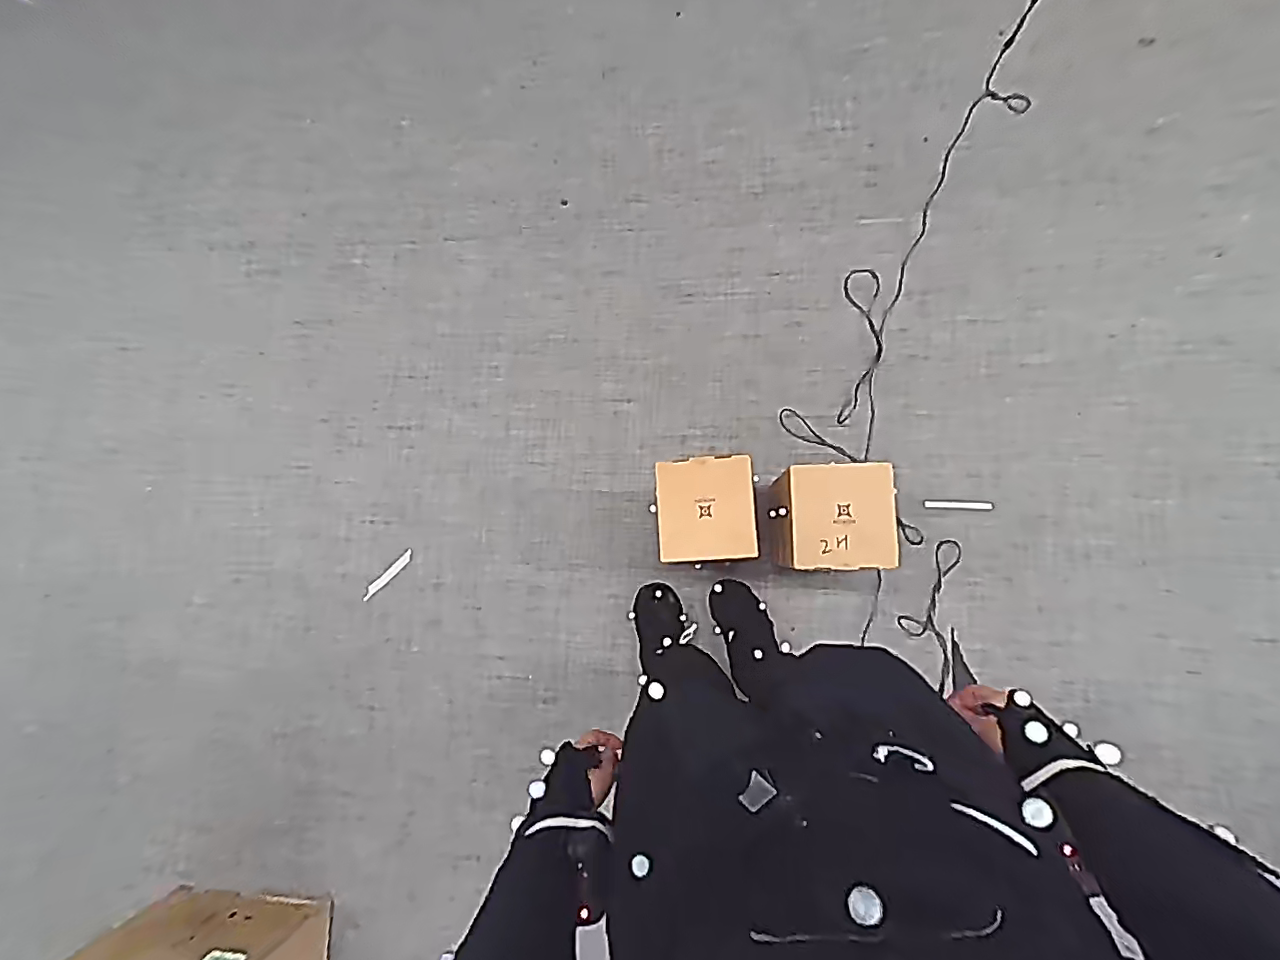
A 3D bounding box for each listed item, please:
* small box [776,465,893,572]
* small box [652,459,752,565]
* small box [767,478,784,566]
[{"bbox_3d":[0.338,0.073,0.967,0.168,0.176,0.179,-1,83,8],"label":"small box"},{"bbox_3d":[0.116,0.064,1.000,0.168,0.176,0.179,-4,81,7],"label":"small box"},{"bbox_3d":[0.357,0.094,1.130,0.168,0.176,0.179,1,83,8],"label":"small box"}]
